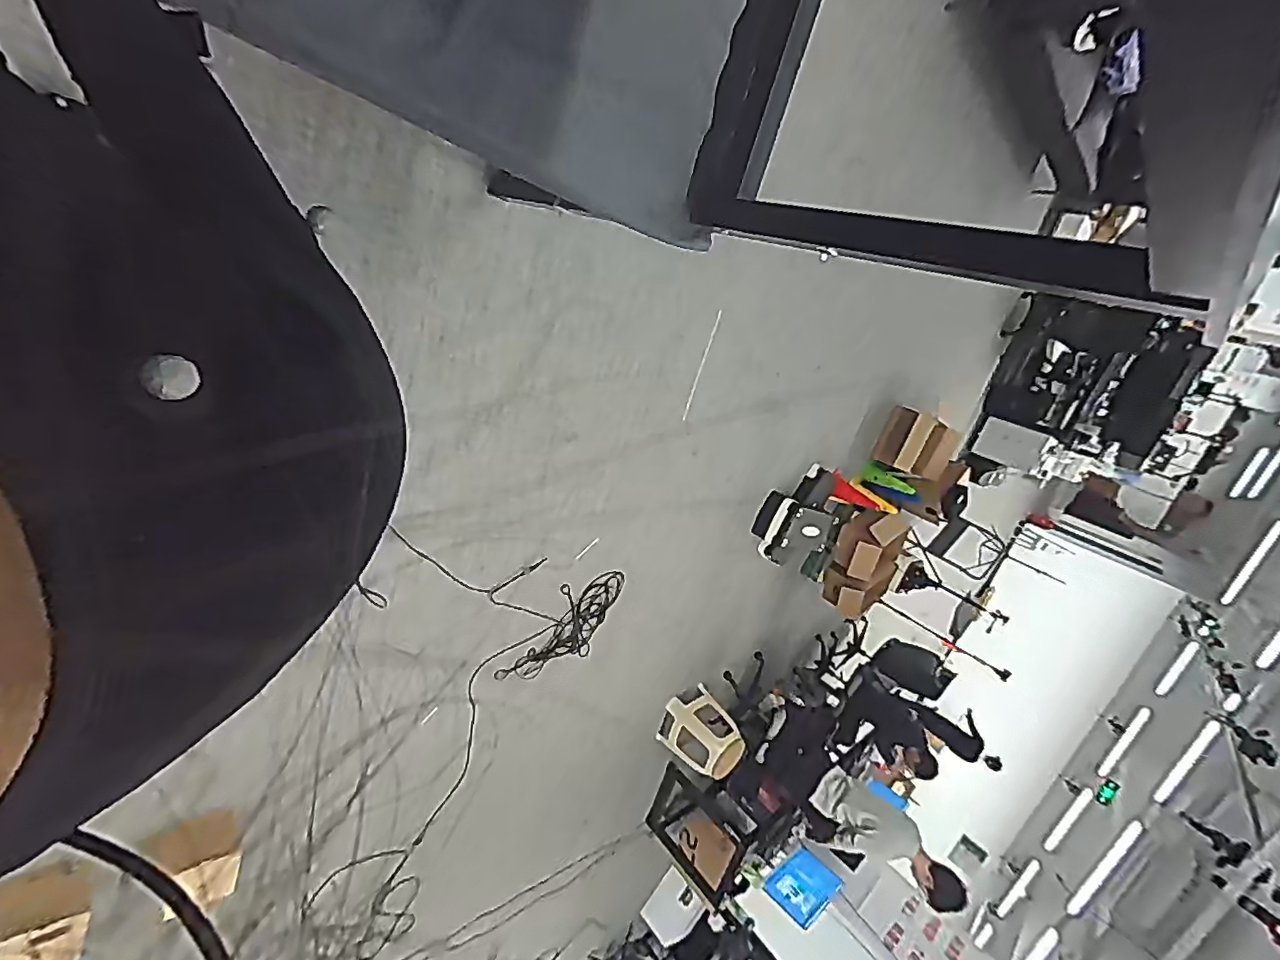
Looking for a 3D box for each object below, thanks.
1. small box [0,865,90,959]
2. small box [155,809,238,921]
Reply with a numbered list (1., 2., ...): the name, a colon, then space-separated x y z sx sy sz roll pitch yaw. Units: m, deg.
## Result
1. small box: -1.525 1.118 1.363 0.168 0.176 0.179 12 107 -49
2. small box: -1.310 1.124 1.592 0.168 0.176 0.179 3 112 -47
